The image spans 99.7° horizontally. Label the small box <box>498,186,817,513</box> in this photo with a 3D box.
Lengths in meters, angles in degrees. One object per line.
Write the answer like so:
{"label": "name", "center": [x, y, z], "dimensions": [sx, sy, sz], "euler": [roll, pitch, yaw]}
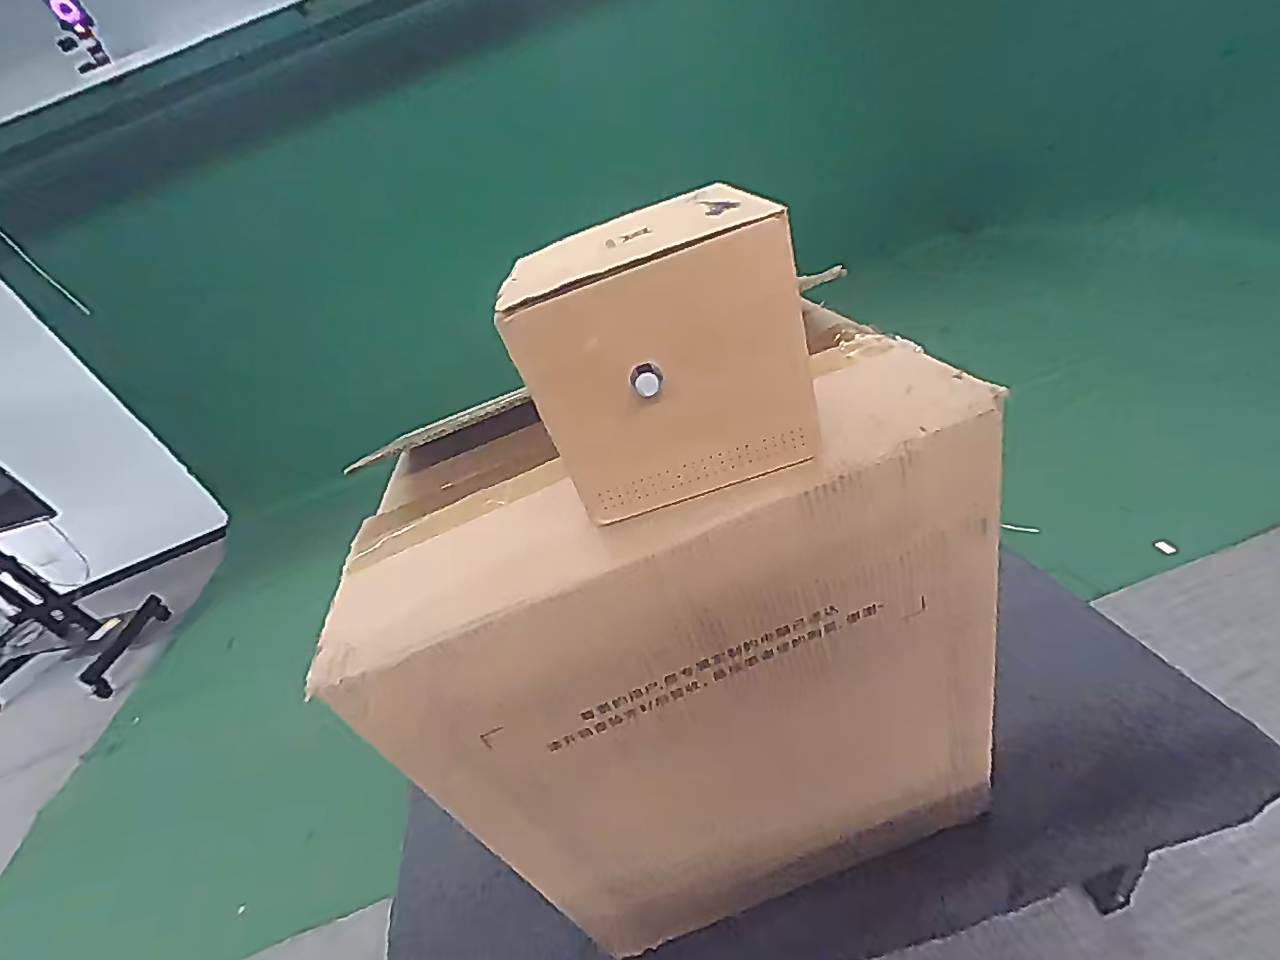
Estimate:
{"label": "small box", "center": [0.016, -0.100, 0.416], "dimensions": [0.179, 0.176, 0.168], "euler": [-18, 34, 5]}
